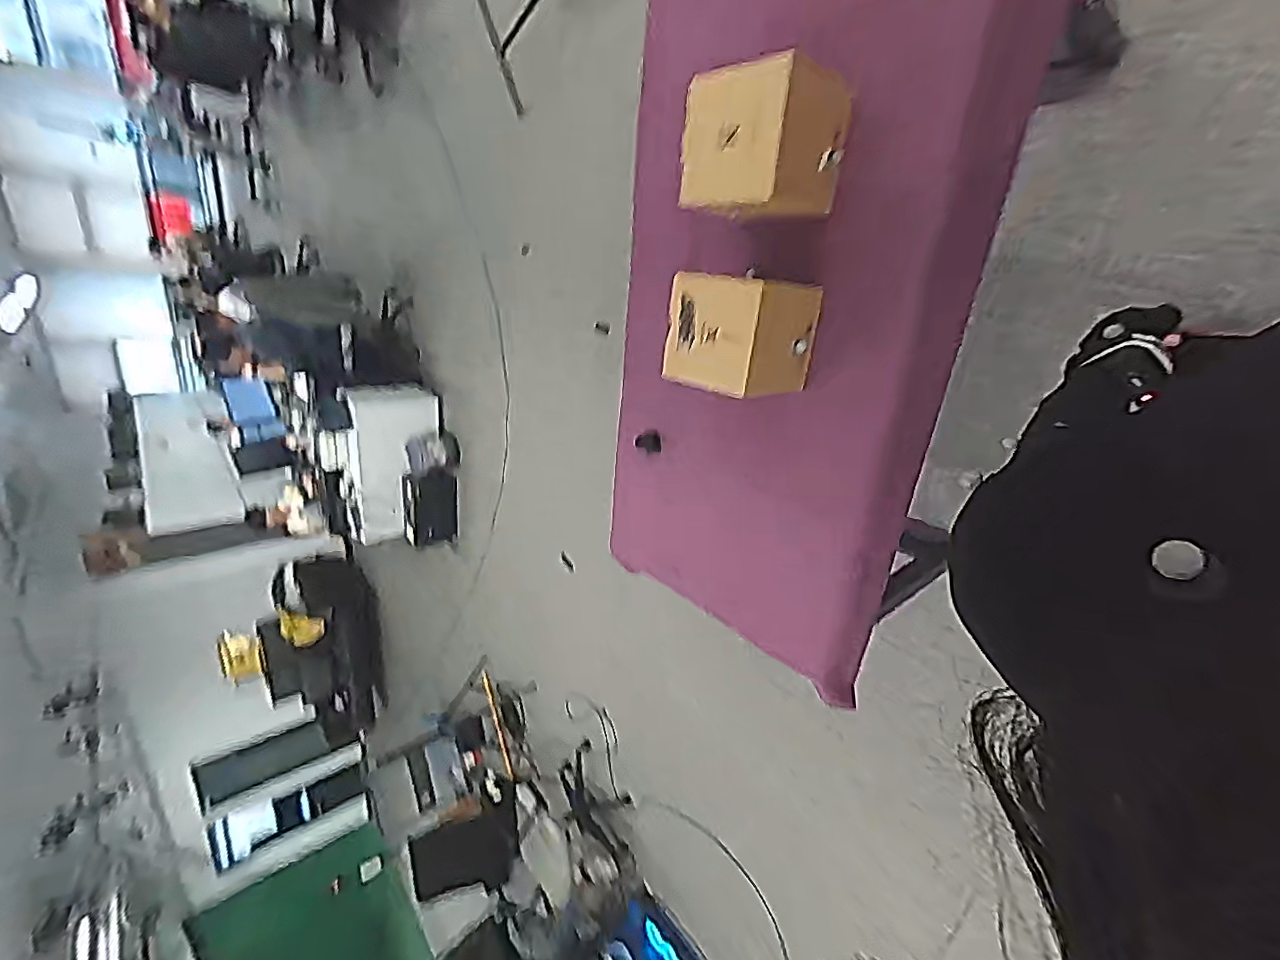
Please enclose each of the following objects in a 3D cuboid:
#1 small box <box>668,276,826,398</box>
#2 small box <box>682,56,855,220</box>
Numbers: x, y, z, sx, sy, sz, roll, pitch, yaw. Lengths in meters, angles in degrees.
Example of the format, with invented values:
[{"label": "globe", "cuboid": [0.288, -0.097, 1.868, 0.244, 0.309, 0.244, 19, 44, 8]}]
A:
[{"label": "small box", "cuboid": [0.172, -0.236, 0.887, 0.179, 0.176, 0.168, 26, 119, 43]}, {"label": "small box", "cuboid": [0.187, -0.489, 0.805, 0.179, 0.176, 0.168, 23, 118, 44]}]
